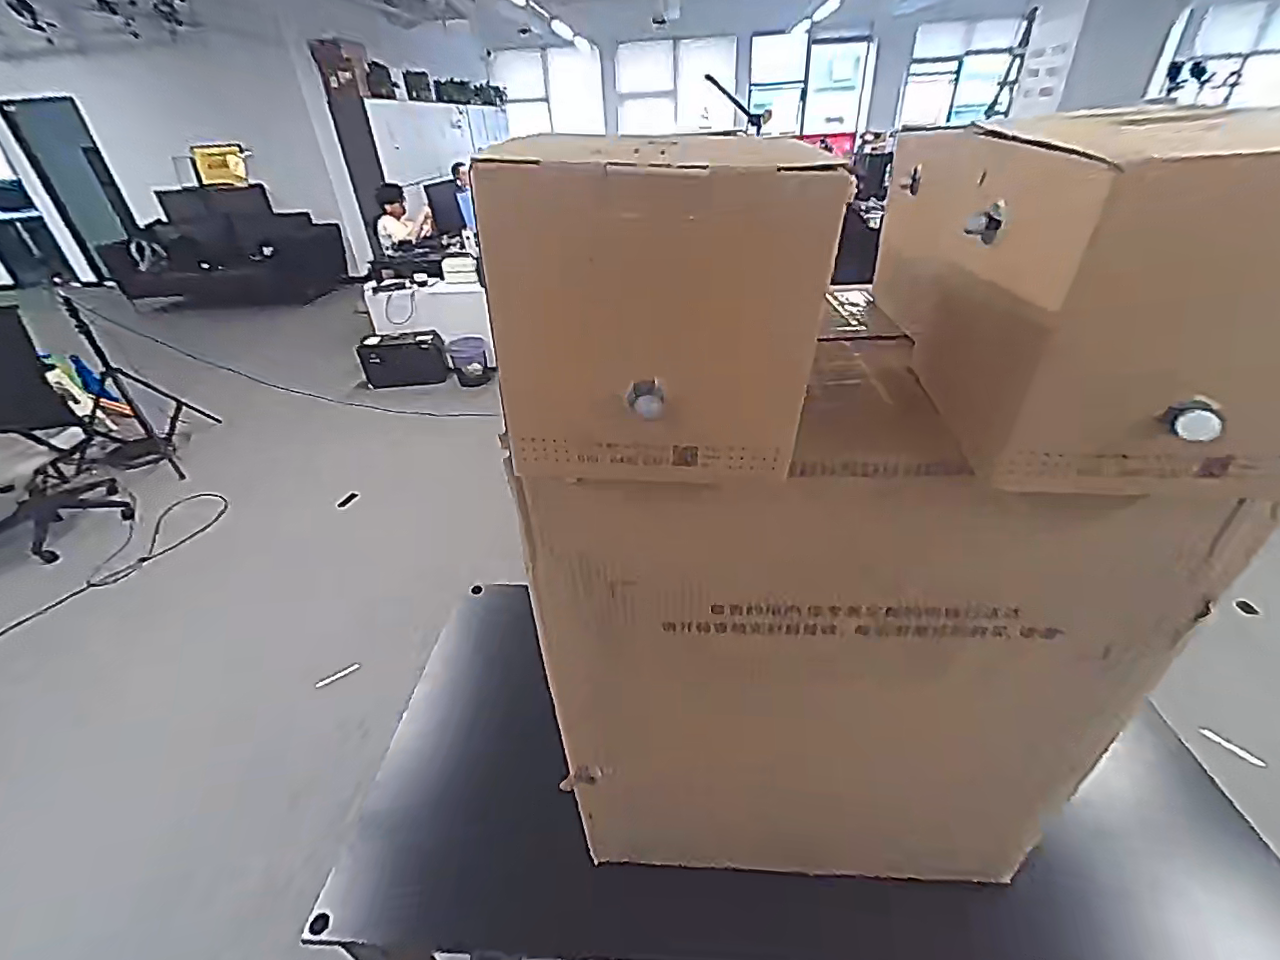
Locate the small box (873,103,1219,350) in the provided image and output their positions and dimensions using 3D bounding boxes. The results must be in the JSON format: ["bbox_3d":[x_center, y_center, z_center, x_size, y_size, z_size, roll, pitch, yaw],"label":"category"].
[{"bbox_3d":[0.321,-0.222,0.481,0.168,0.176,0.179,-1,32,8],"label":"small box"}]
